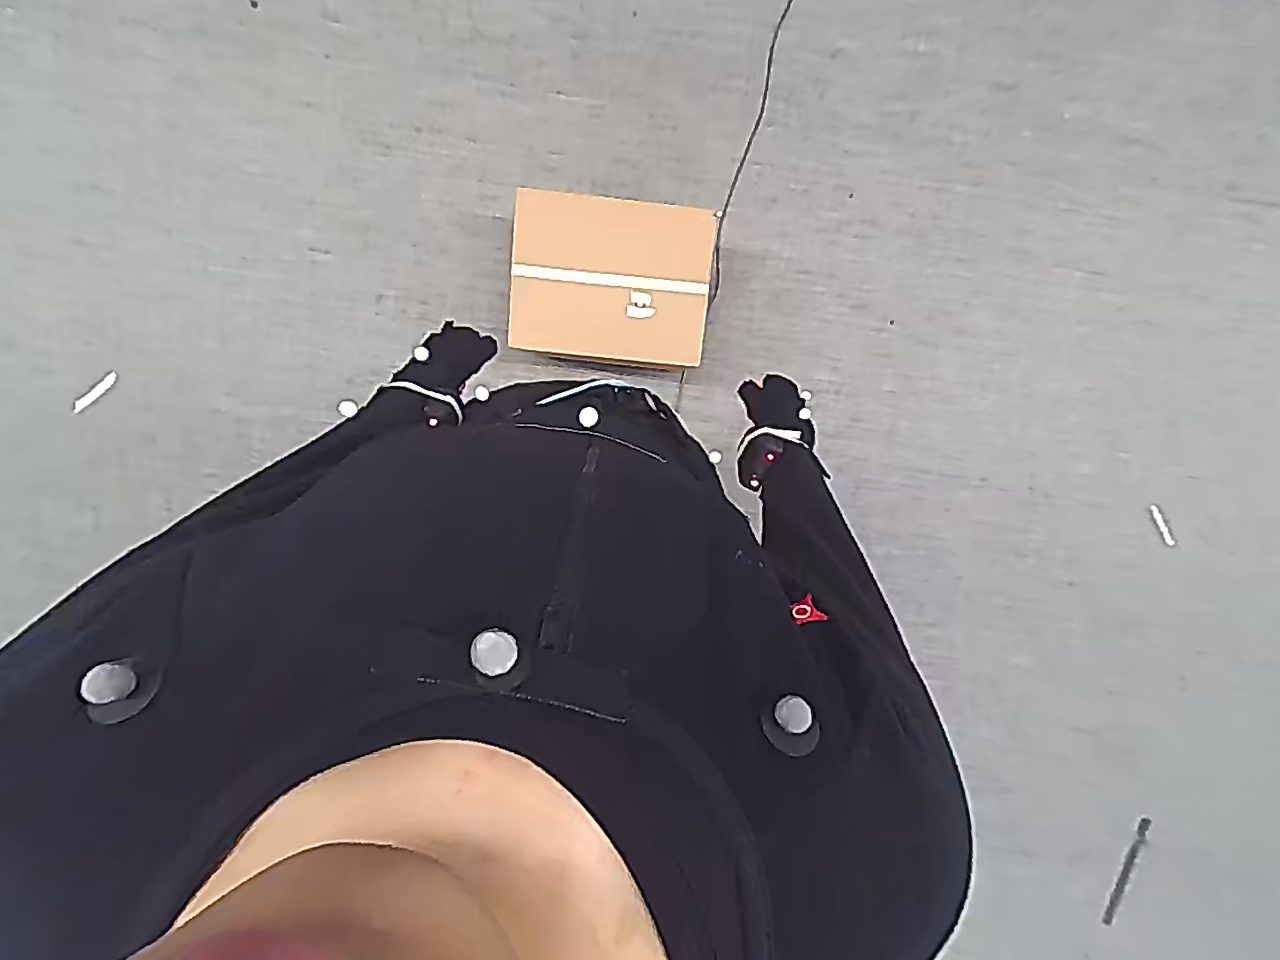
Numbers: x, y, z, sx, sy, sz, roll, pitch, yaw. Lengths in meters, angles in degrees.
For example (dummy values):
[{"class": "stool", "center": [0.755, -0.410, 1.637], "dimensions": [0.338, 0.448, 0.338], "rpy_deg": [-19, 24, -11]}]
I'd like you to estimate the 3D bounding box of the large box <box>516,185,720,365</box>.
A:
[{"class": "large box", "center": [-0.055, -0.446, 1.256], "dimensions": [0.408, 0.320, 0.320], "rpy_deg": [6, 101, -3]}]
